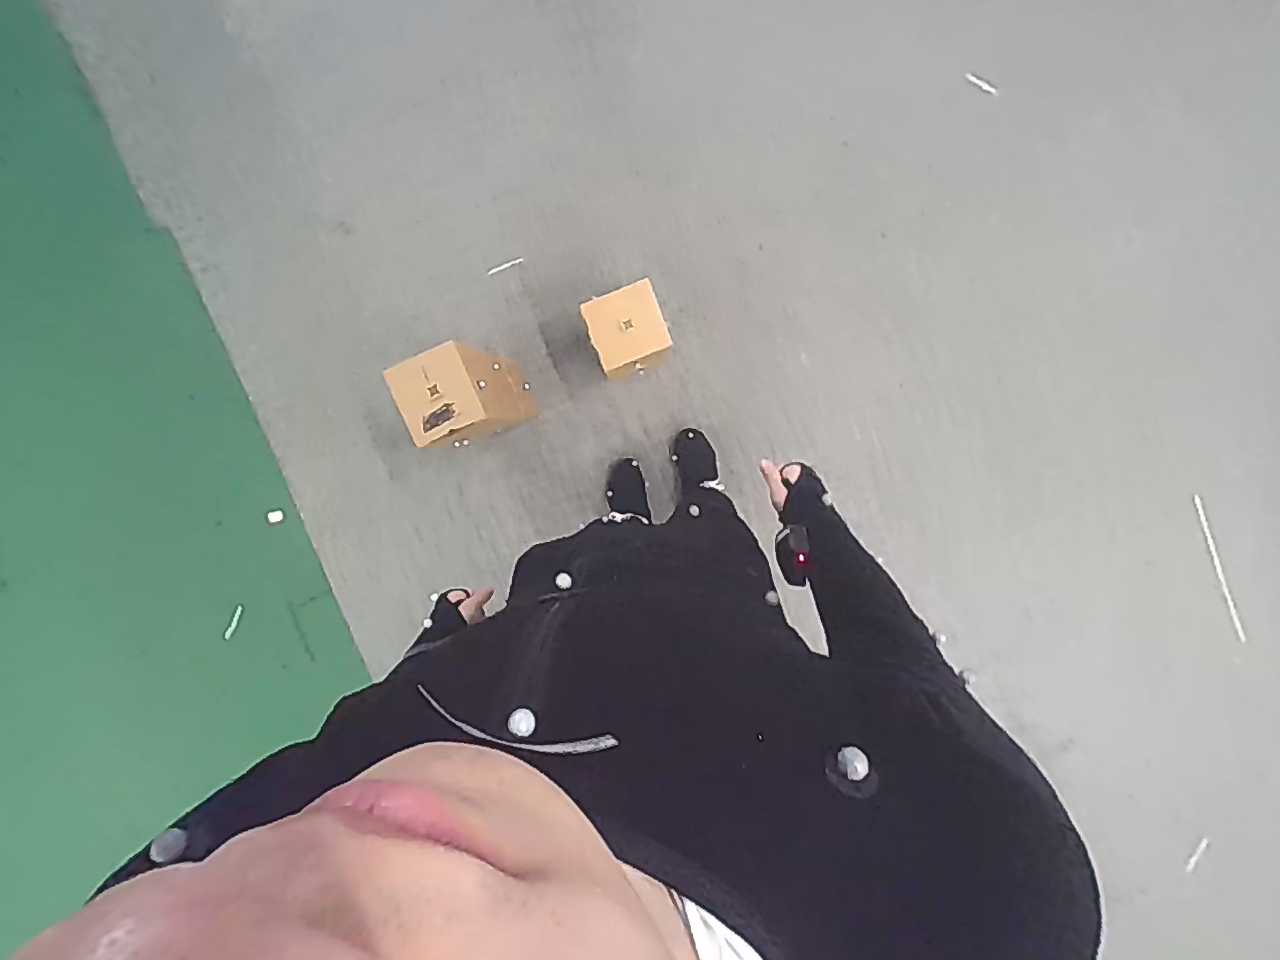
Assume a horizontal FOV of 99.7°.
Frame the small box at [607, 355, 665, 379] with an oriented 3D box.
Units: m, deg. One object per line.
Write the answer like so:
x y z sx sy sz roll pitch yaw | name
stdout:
-0.035 -0.388 1.502 0.168 0.176 0.179 -20 95 2 | small box

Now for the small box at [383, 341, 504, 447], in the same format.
-0.425 -0.186 1.201 0.168 0.176 0.179 -23 93 3 | small box

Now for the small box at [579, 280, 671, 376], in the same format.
-0.034 -0.369 1.341 0.179 0.176 0.168 -22 94 4 | small box

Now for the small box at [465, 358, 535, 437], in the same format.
-0.419 -0.226 1.527 0.179 0.176 0.168 -21 94 3 | small box
